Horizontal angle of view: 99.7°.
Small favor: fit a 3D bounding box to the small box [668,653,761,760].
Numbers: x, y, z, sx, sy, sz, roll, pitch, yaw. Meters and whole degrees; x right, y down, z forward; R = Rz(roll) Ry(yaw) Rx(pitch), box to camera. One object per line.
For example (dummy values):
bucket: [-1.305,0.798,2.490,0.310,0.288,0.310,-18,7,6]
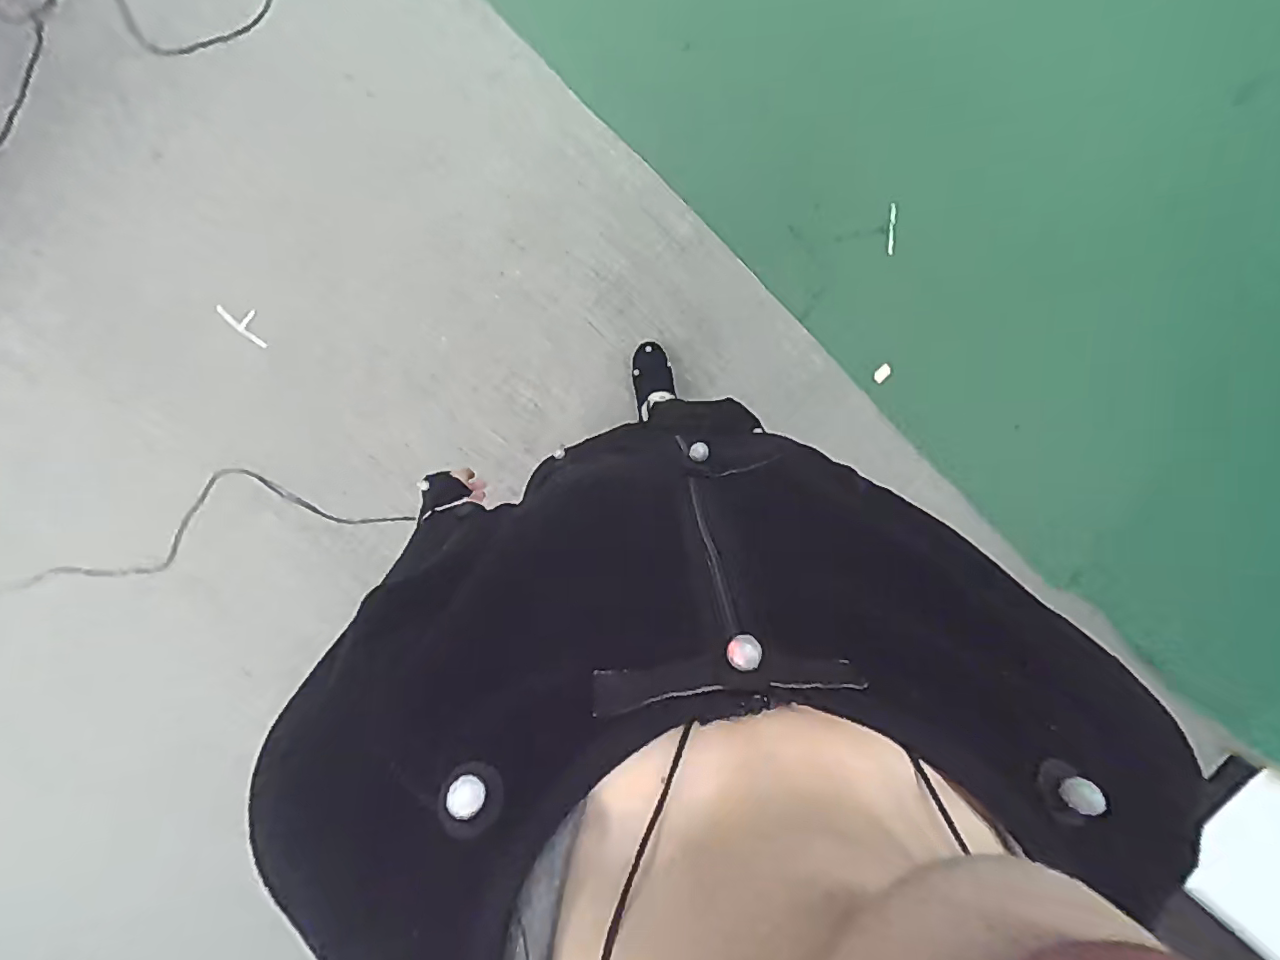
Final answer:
small box: [0.199,0.615,1.490,0.168,0.176,0.179,-45,99,3]
